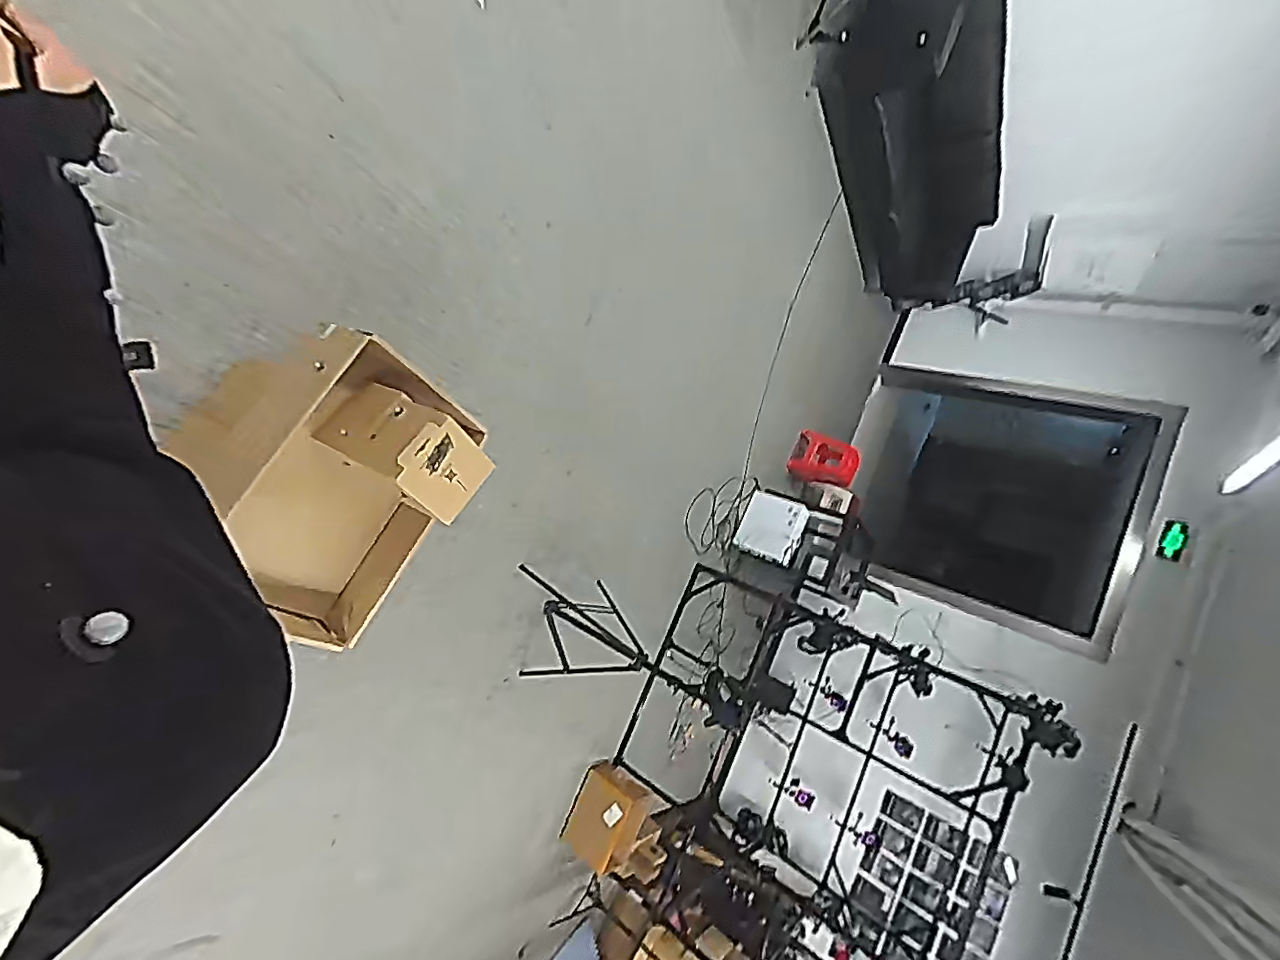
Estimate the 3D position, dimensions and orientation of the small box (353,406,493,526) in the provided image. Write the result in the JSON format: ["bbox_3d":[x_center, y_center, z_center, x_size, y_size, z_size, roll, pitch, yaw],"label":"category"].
[{"bbox_3d":[-0.451,-0.036,1.126,0.168,0.176,0.179,-56,145,-20],"label":"small box"}]
